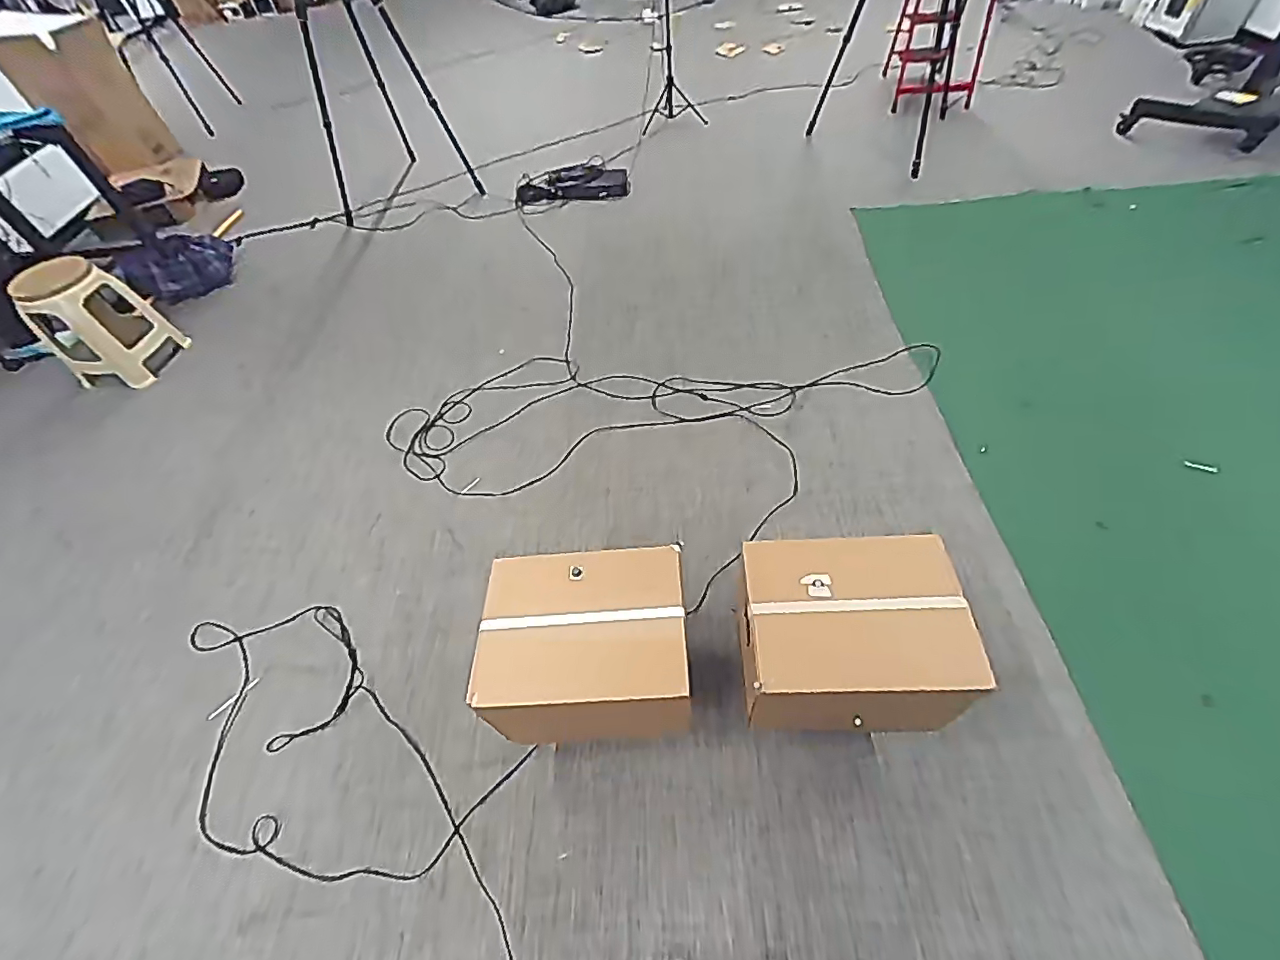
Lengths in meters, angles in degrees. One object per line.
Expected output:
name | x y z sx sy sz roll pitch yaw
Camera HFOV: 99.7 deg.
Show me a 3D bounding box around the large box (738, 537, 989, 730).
large box | 0.433 0.342 1.167 0.408 0.320 0.320 -3 52 5
